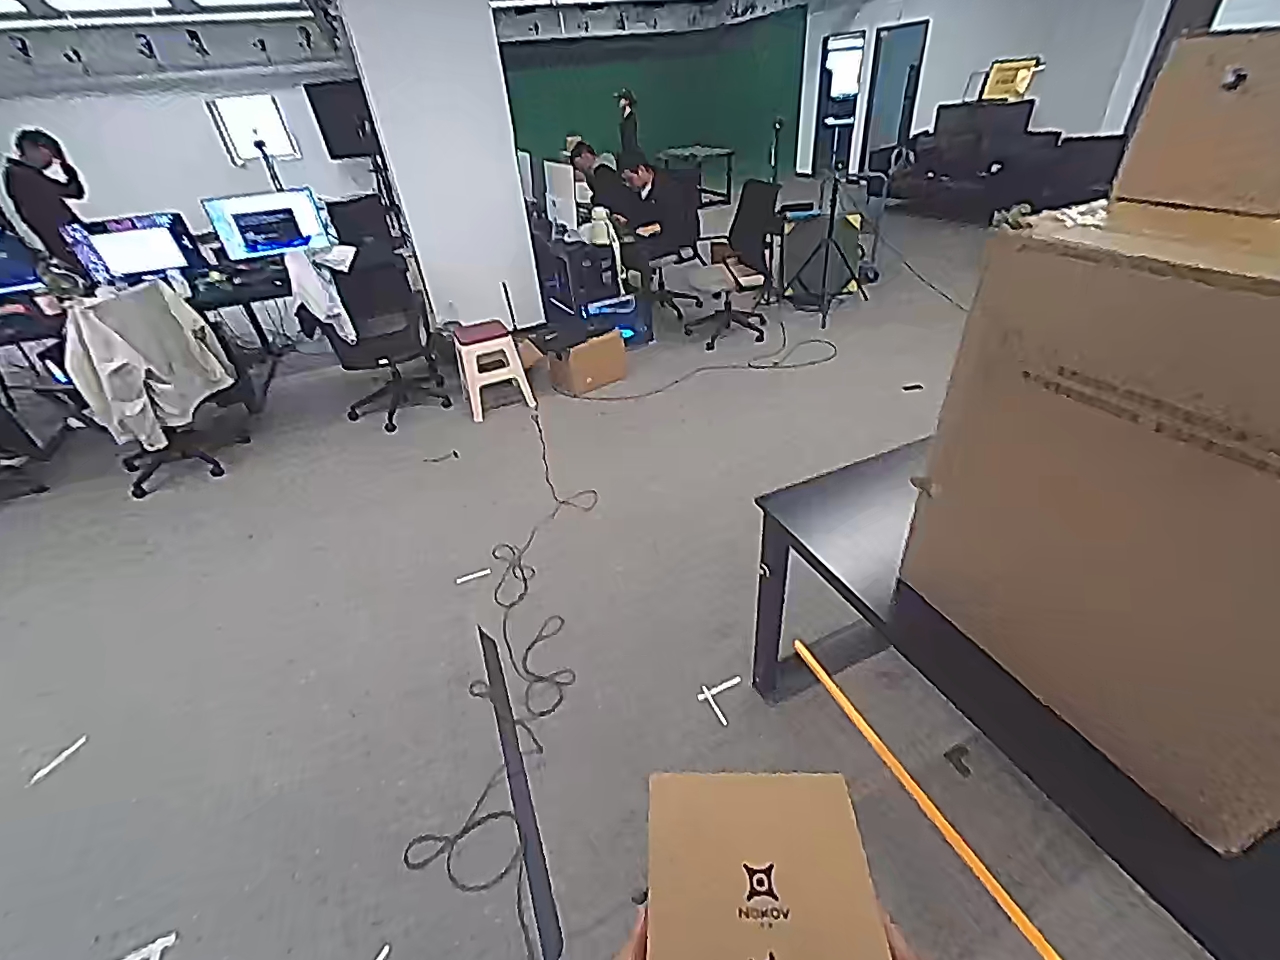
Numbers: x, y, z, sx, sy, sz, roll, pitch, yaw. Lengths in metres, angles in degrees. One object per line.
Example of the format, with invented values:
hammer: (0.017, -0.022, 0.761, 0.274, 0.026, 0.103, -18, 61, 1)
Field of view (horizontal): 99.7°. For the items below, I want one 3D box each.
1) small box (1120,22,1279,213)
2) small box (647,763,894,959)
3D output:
small box: (0.719, -0.412, 0.619, 0.168, 0.176, 0.179, -16, 38, -17)
small box: (0.092, 0.359, 0.441, 0.168, 0.176, 0.179, -2, 37, 4)
